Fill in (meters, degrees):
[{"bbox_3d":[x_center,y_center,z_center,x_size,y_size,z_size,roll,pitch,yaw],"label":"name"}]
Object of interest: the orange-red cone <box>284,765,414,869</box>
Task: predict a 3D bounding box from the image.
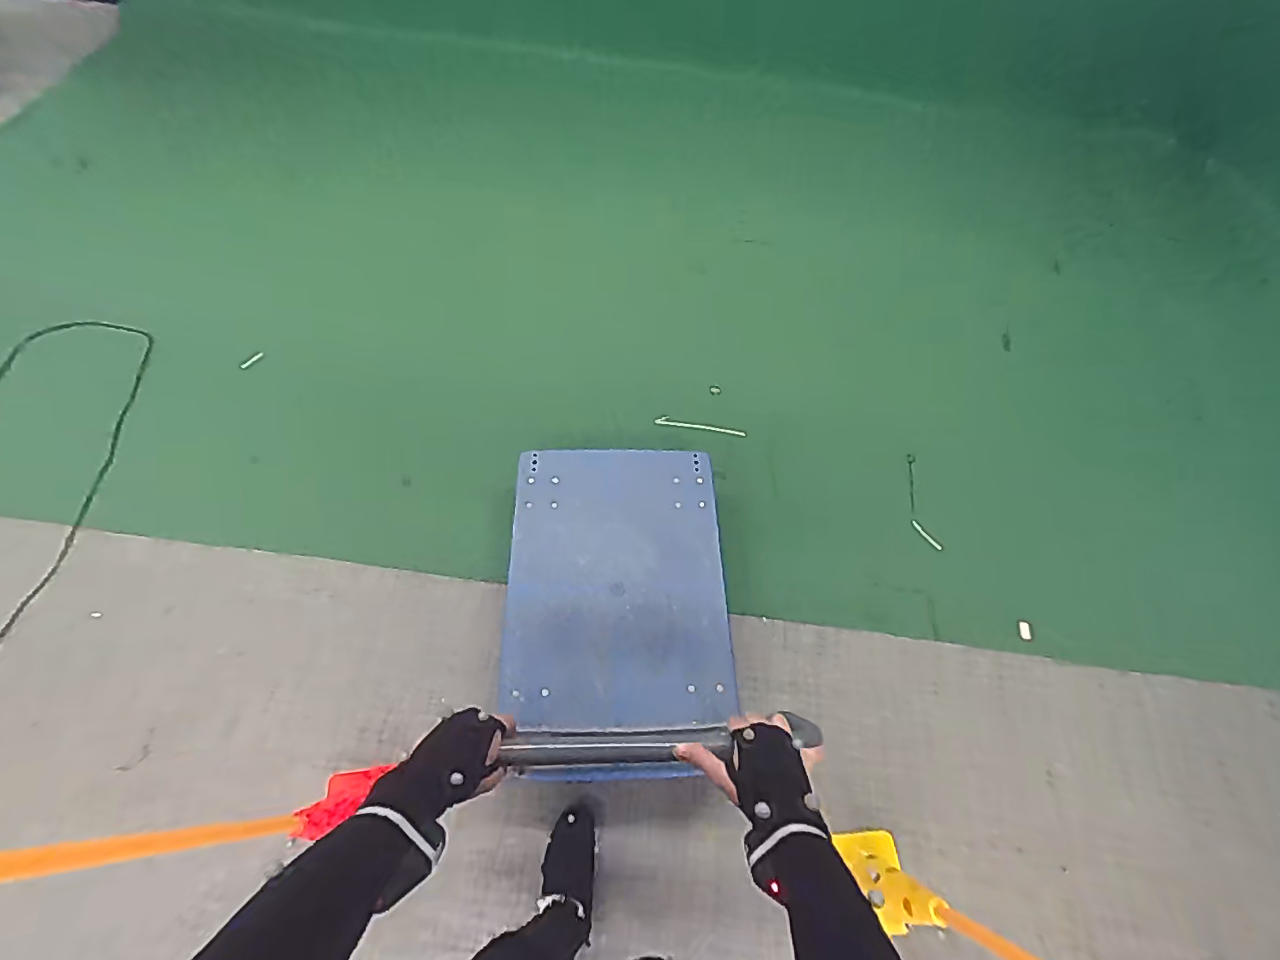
[{"bbox_3d":[-0.638,0.709,1.131,0.199,0.360,0.198,-6,61,-6],"label":"orange-red cone"}]
